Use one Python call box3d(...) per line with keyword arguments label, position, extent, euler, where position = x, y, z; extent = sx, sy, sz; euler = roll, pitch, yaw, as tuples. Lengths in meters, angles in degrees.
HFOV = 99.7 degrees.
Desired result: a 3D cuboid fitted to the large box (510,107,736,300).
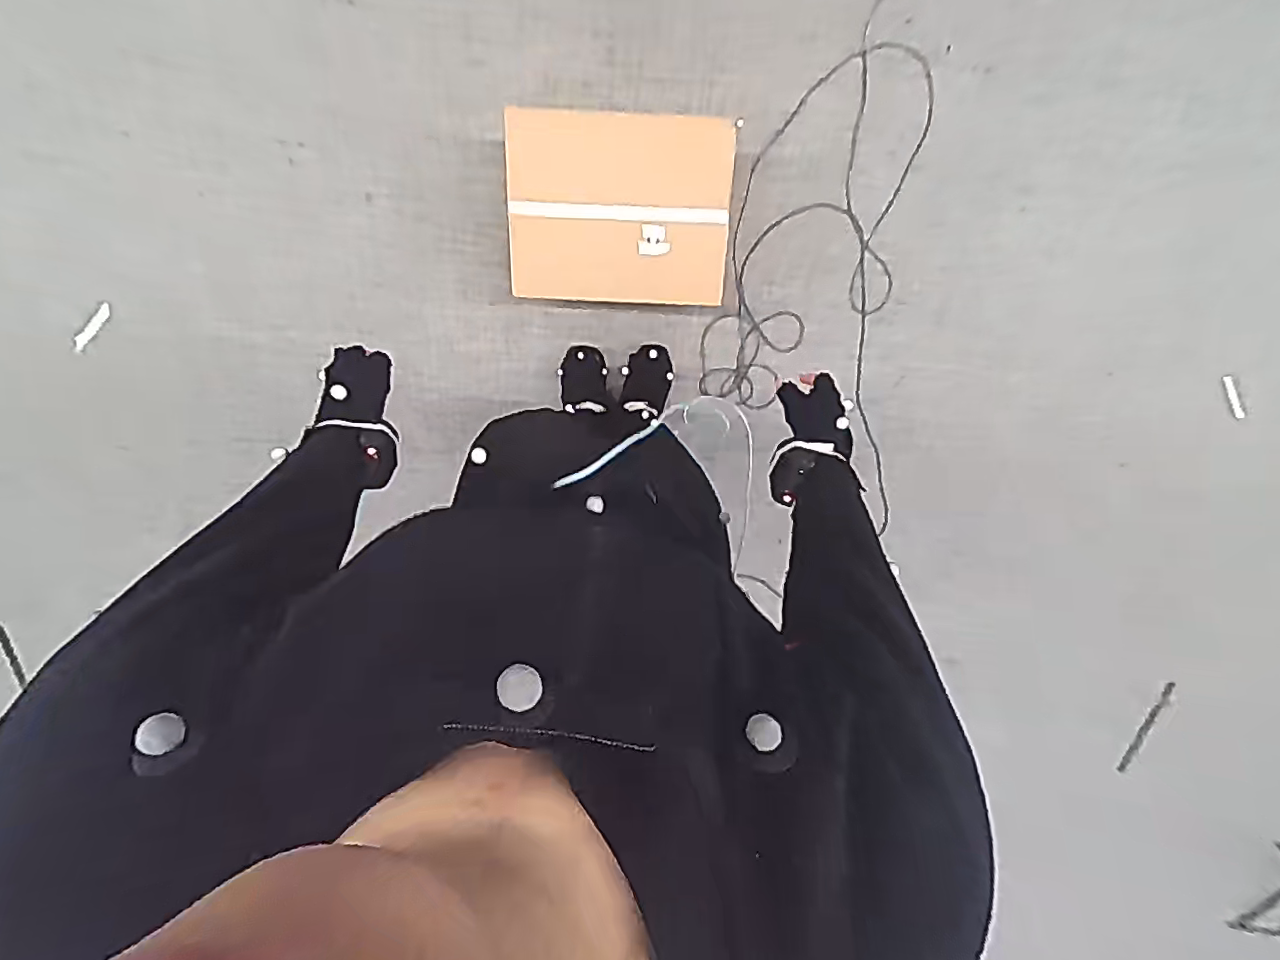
box3d(label="large box", position=(-0.037, -0.551, 1.134), extent=(0.408, 0.320, 0.320), euler=(2, 112, -2))
